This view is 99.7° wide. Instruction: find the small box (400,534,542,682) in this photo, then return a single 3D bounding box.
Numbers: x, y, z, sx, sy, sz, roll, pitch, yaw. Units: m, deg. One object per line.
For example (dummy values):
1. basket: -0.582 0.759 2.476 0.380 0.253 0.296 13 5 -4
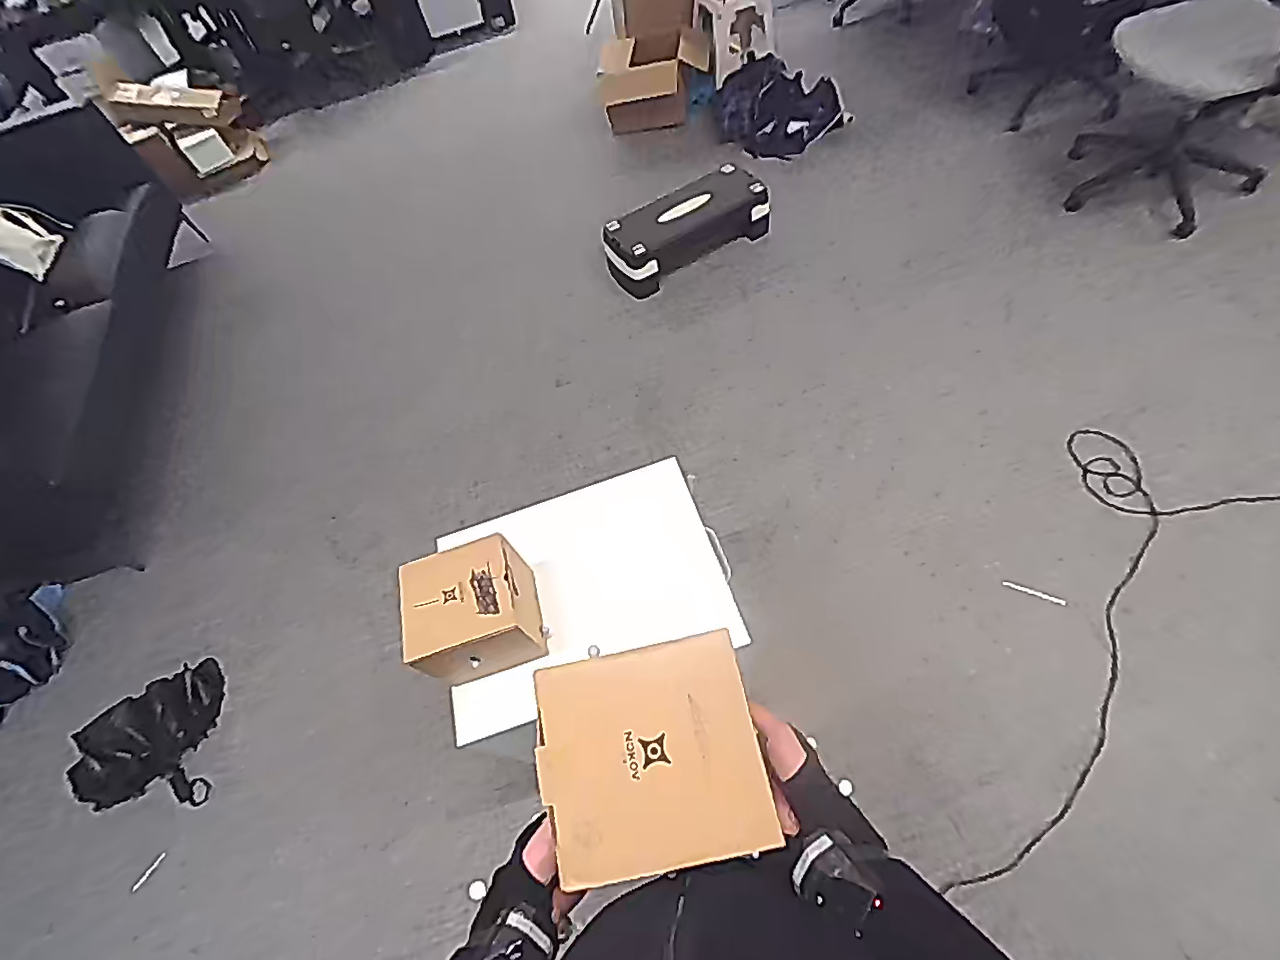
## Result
1. small box: -0.273 0.218 0.900 0.179 0.176 0.168 -19 57 -1
